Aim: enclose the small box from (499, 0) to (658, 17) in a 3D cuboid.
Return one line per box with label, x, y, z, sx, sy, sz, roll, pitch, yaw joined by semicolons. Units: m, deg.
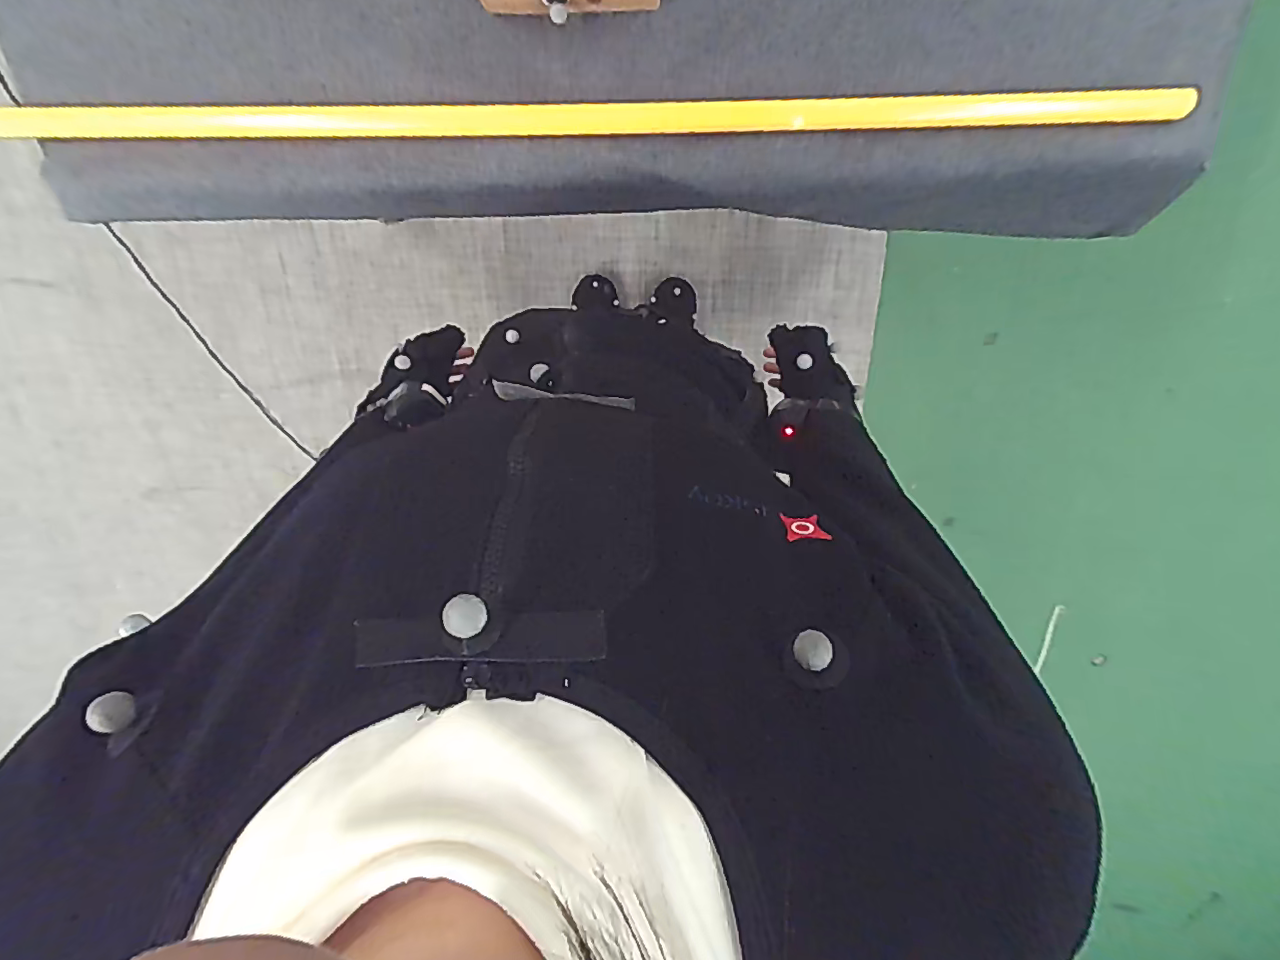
small box;-0.064;-0.505;0.419;0.168;0.176;0.179;-1;113;3
